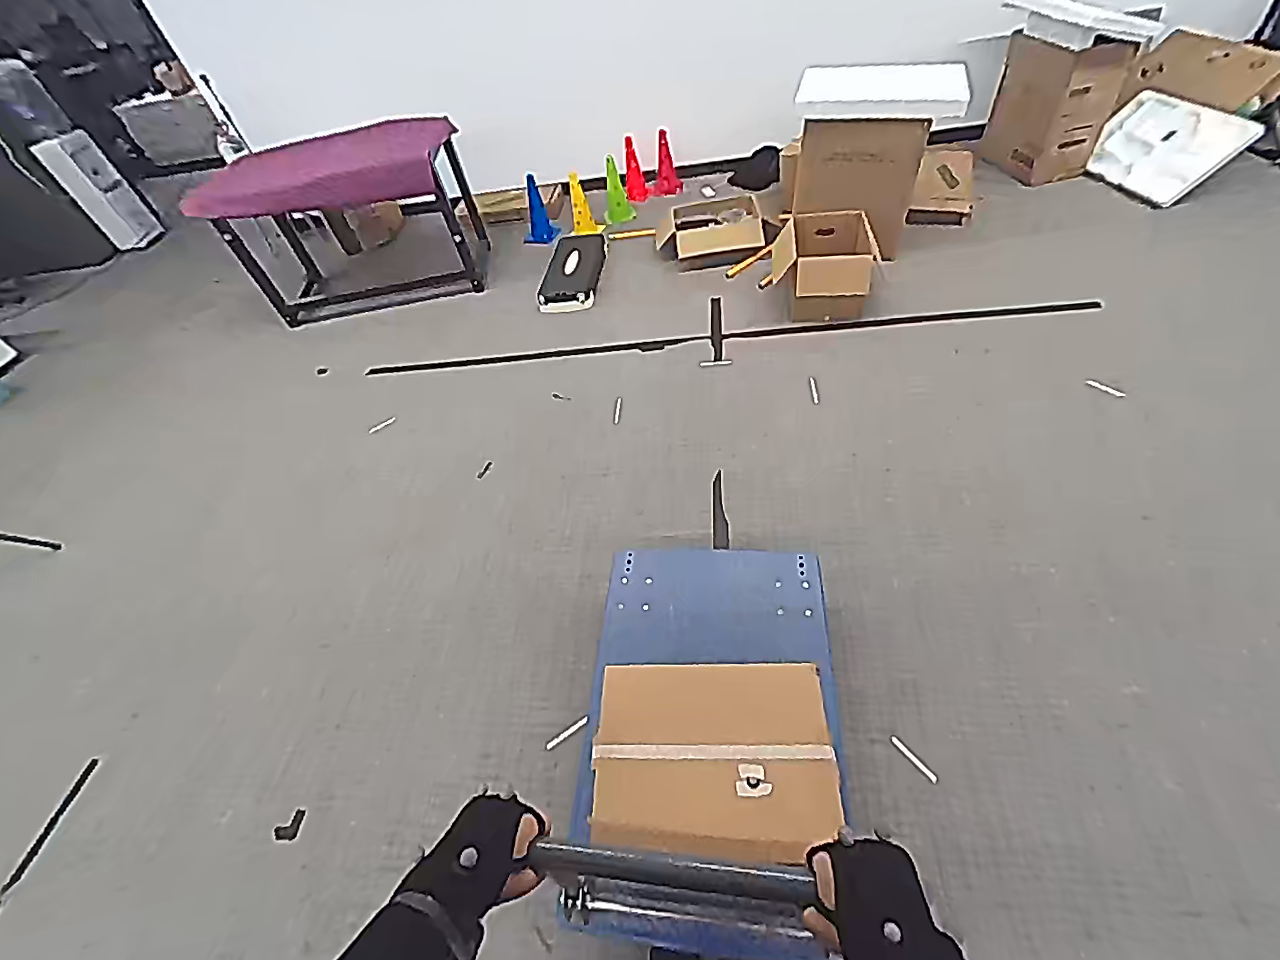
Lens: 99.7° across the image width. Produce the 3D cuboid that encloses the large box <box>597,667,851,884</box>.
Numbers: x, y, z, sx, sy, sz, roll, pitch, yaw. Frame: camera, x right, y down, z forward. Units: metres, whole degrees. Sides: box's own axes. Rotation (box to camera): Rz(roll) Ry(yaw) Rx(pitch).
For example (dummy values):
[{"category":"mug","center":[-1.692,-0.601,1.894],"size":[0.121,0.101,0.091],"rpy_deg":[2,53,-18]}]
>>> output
[{"category":"large box","center":[0.146,0.577,1.048],"size":[0.408,0.320,0.320],"rpy_deg":[-3,49,7]}]
